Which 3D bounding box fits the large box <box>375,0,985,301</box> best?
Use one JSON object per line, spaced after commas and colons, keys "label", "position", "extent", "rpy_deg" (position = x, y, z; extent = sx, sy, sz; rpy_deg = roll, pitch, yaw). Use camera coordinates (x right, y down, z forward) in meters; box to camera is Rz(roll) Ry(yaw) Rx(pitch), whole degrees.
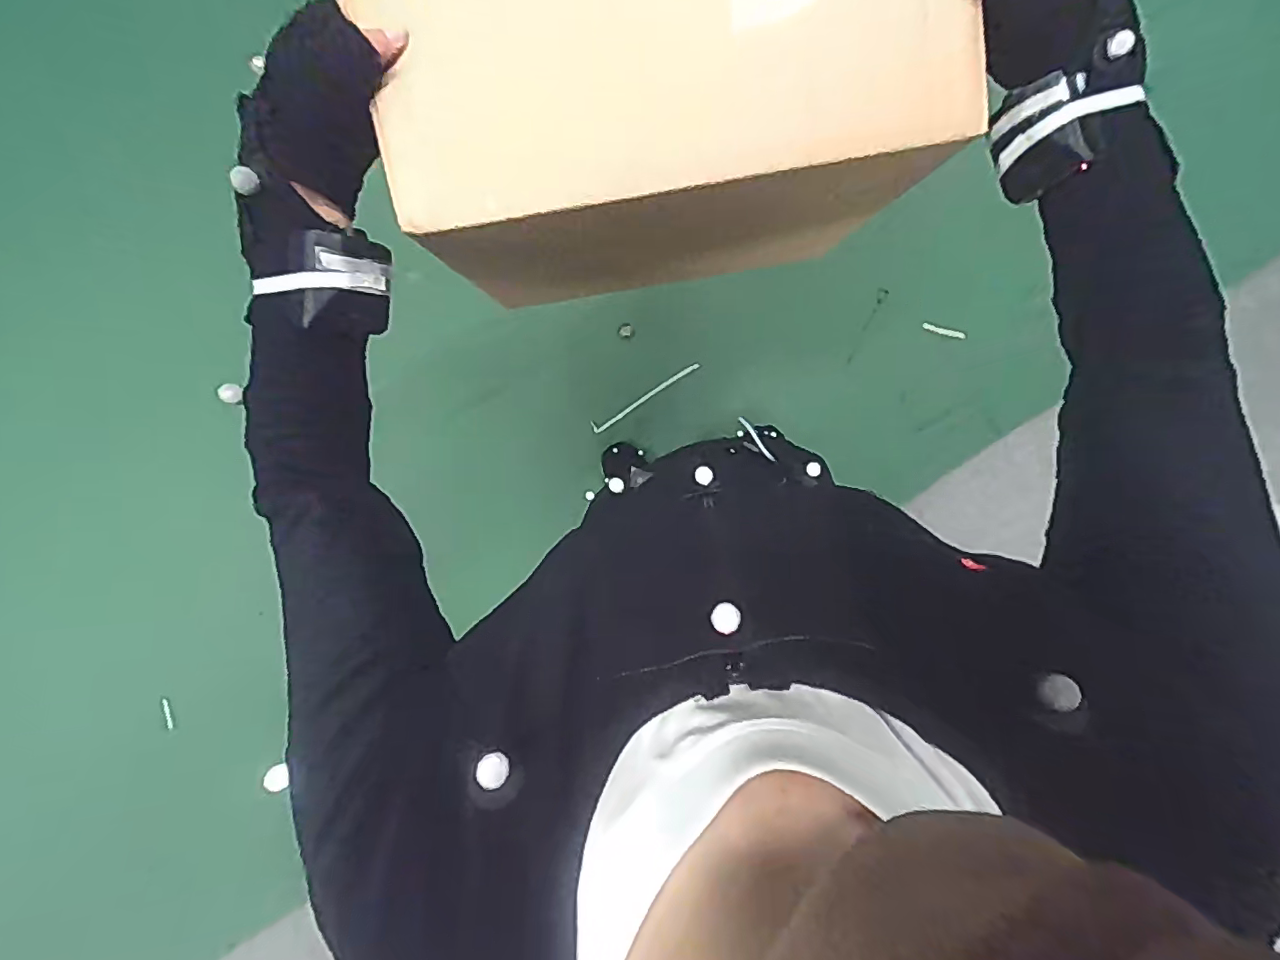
{"label": "large box", "position": [0.012, -0.381, 0.498], "extent": [0.408, 0.320, 0.320], "rpy_deg": [-10, 99, -1]}
